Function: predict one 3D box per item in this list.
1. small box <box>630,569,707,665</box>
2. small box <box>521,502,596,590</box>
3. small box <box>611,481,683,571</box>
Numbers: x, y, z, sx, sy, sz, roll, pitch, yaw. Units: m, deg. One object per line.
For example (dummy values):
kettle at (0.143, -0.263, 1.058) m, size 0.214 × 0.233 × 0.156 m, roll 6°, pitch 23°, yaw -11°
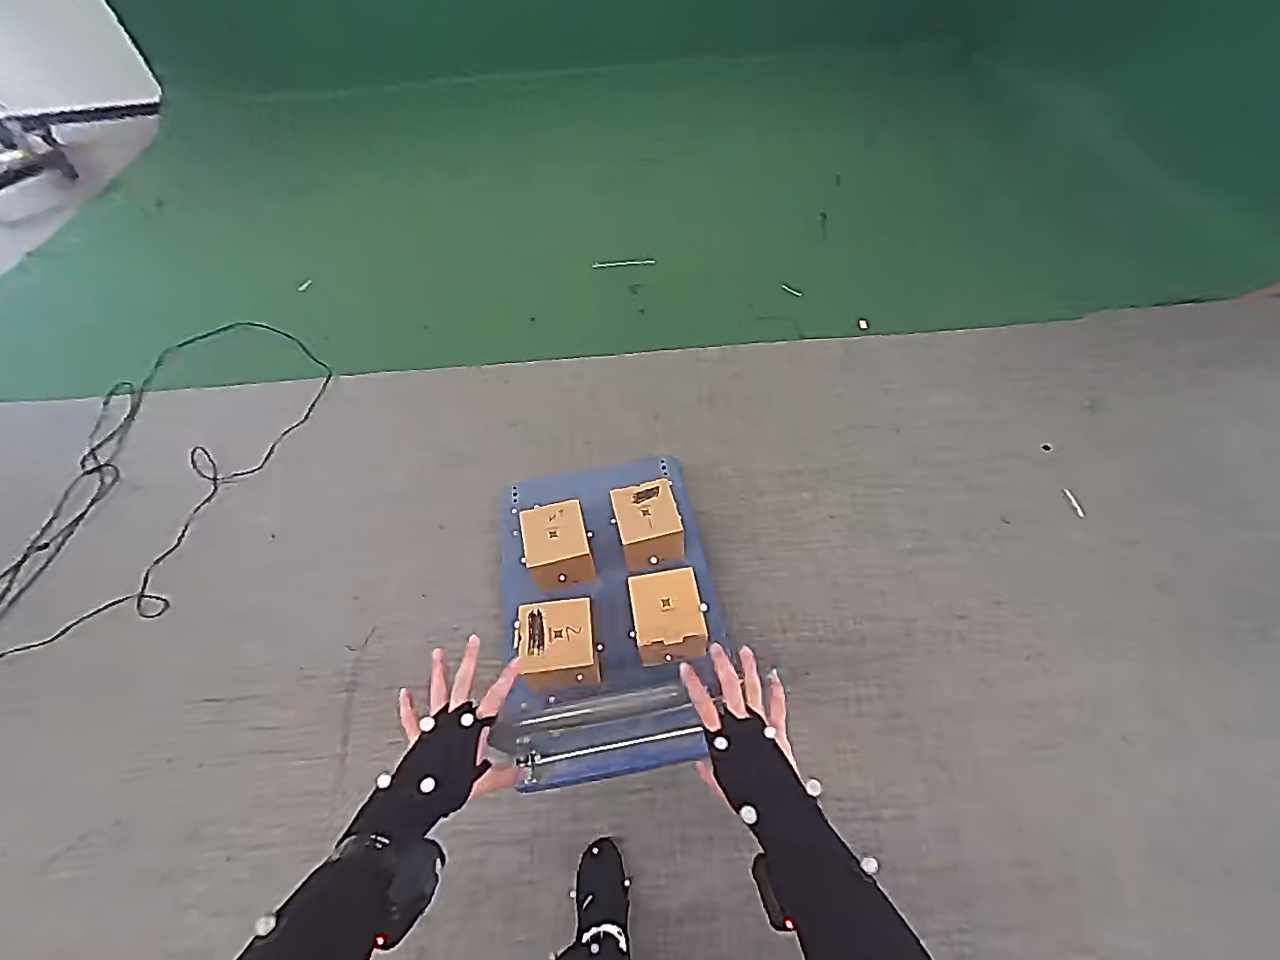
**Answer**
small box at (0.068, 0.351, 1.380) m, size 0.168 × 0.176 × 0.179 m, roll -9°, pitch 56°, yaw -3°
small box at (-0.224, 0.191, 1.508) m, size 0.168 × 0.176 × 0.179 m, roll -13°, pitch 55°, yaw -6°
small box at (0.020, 0.133, 1.532) m, size 0.168 × 0.176 × 0.179 m, roll -13°, pitch 57°, yaw -4°
